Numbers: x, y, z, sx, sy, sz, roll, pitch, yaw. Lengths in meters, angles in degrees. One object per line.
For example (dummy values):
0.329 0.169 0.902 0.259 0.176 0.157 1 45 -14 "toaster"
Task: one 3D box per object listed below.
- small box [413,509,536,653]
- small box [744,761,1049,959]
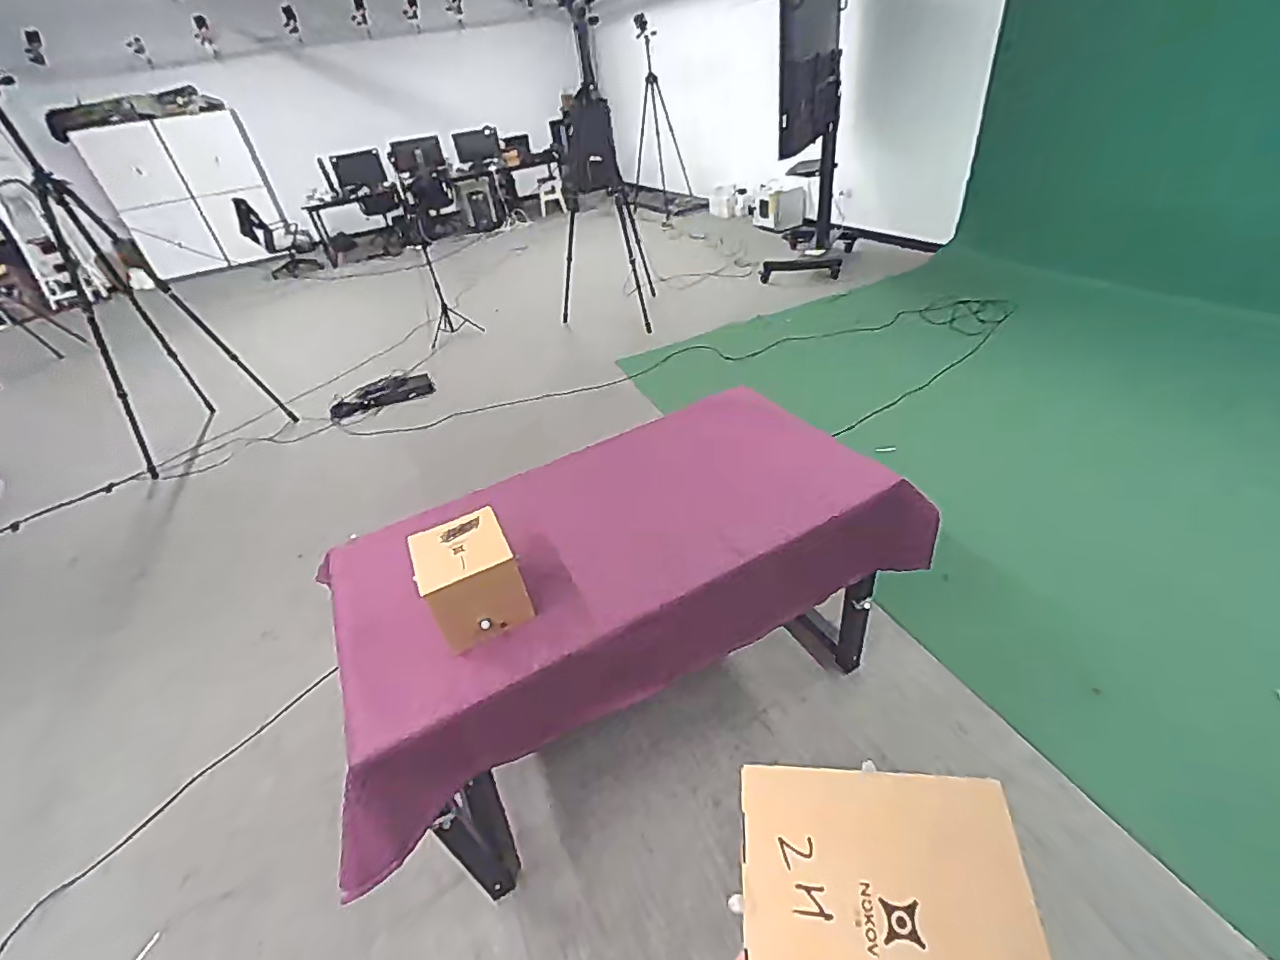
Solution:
-0.315 0.191 1.035 0.168 0.176 0.179 -23 39 -17 "small box"
0.170 0.320 0.400 0.179 0.176 0.168 -3 51 12 "small box"
